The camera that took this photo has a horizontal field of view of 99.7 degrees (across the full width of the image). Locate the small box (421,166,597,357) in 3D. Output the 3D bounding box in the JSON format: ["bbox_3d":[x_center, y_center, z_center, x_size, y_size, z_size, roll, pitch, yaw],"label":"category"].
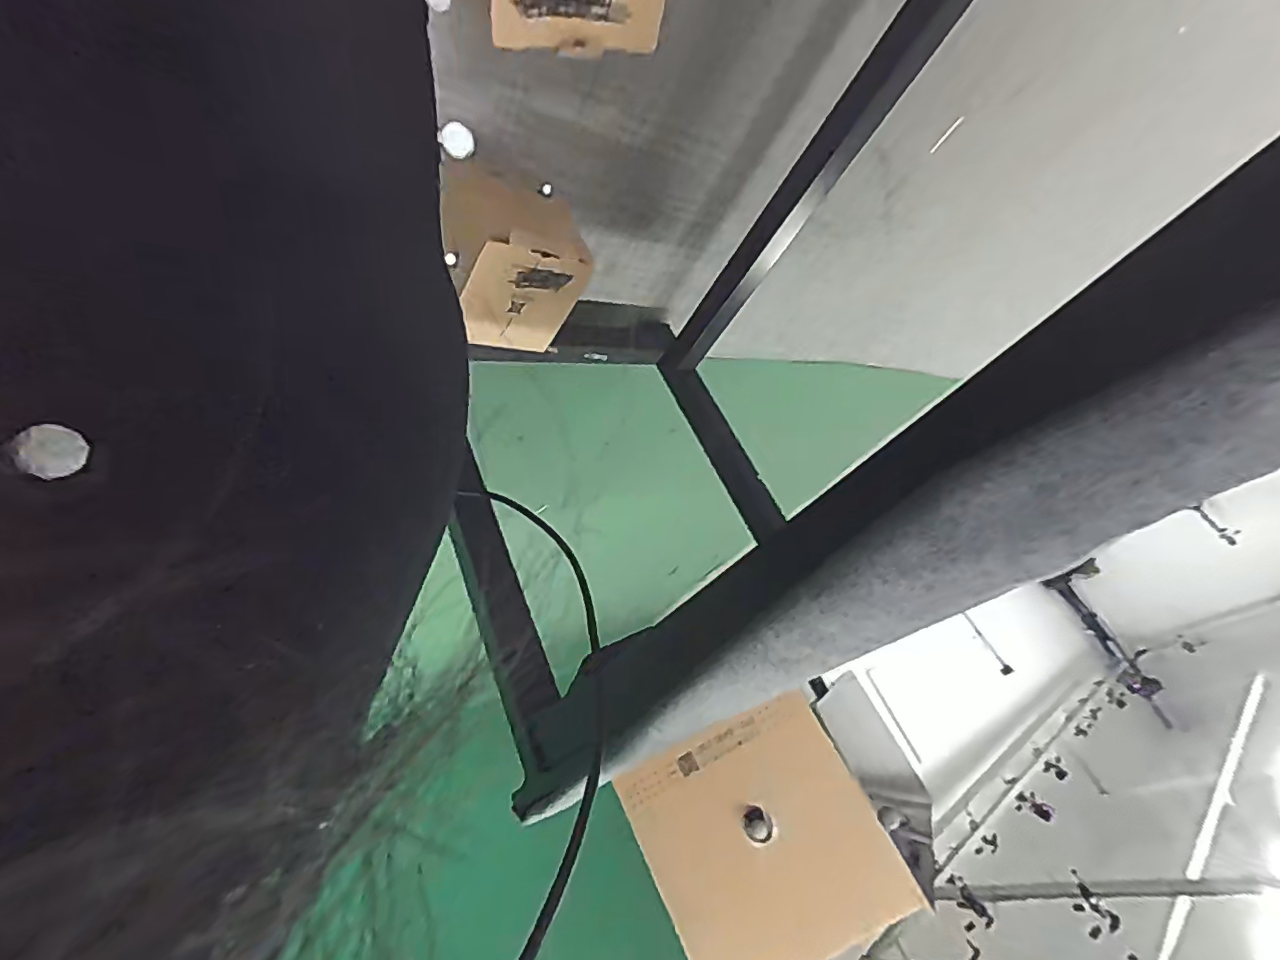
[{"bbox_3d":[-0.195,-0.304,0.770,0.168,0.176,0.179,-4,147,-42],"label":"small box"}]

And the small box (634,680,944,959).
[{"bbox_3d":[0.113,0.287,0.465,0.168,0.176,0.179,-30,157,1],"label":"small box"}]
